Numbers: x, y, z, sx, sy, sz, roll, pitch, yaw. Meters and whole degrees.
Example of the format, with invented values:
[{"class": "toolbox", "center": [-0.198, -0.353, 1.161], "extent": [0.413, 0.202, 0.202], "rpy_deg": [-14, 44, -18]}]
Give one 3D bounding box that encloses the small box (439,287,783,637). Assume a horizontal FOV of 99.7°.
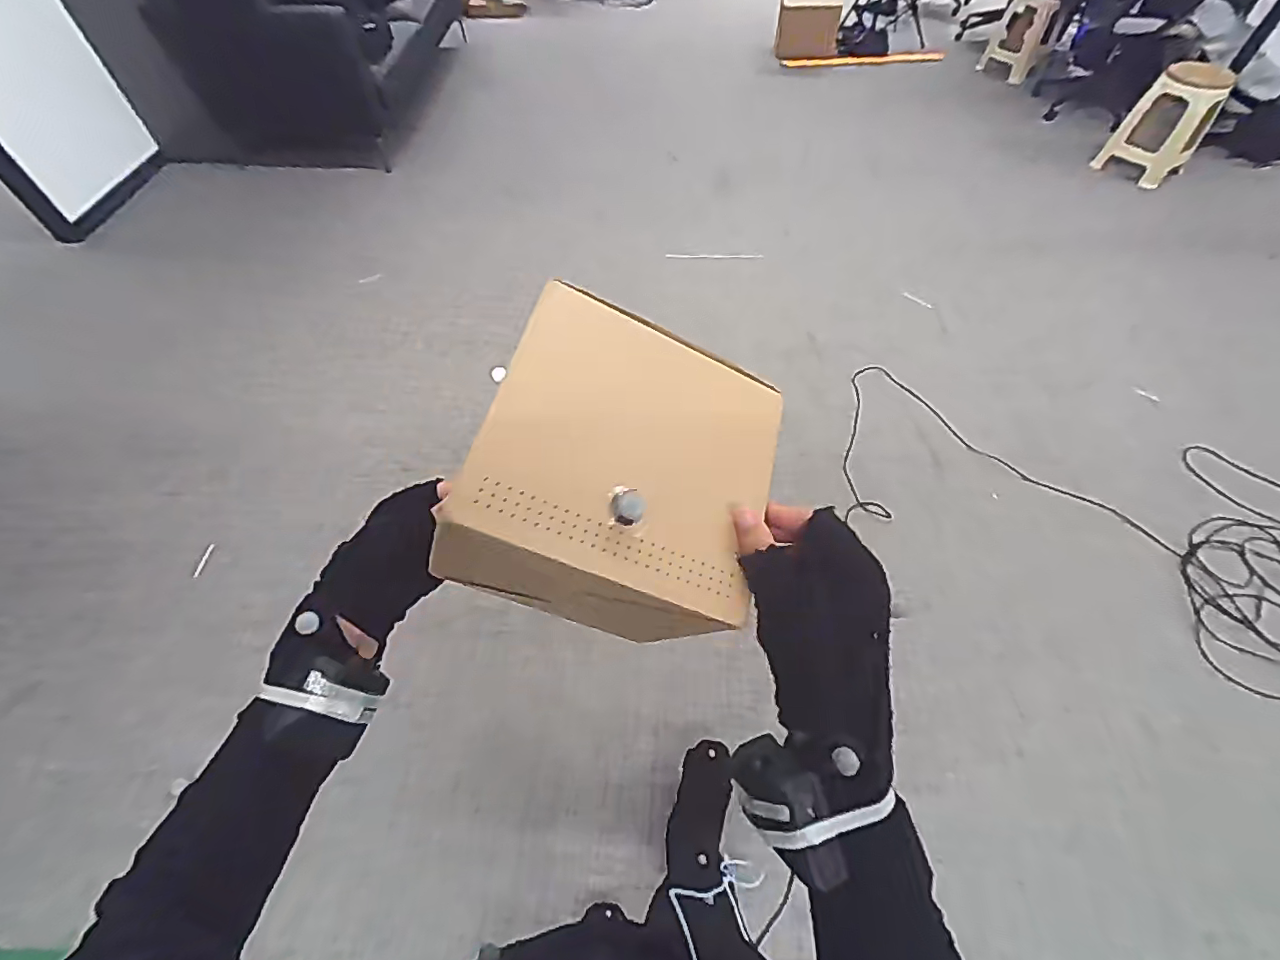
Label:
[{"class": "small box", "center": [-0.025, 0.006, 0.397], "extent": [0.179, 0.168, 0.176], "rpy_deg": [24, 62, -15]}]
